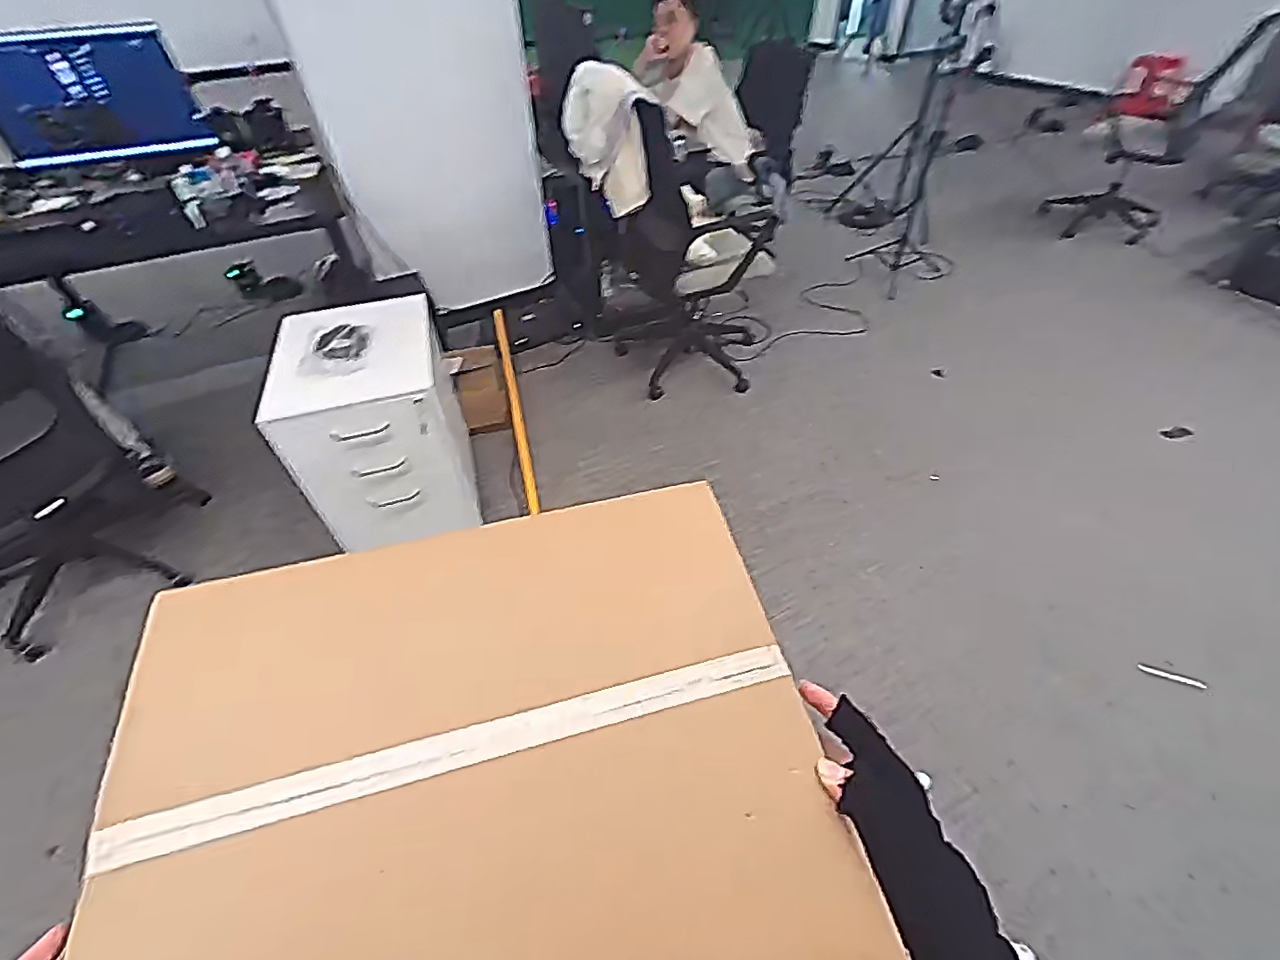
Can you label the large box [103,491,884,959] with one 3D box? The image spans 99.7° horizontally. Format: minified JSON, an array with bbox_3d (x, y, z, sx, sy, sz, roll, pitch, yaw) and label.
[{"bbox_3d":[-0.100,0.255,0.459,0.408,0.320,0.320,-11,56,-10],"label":"large box"}]
